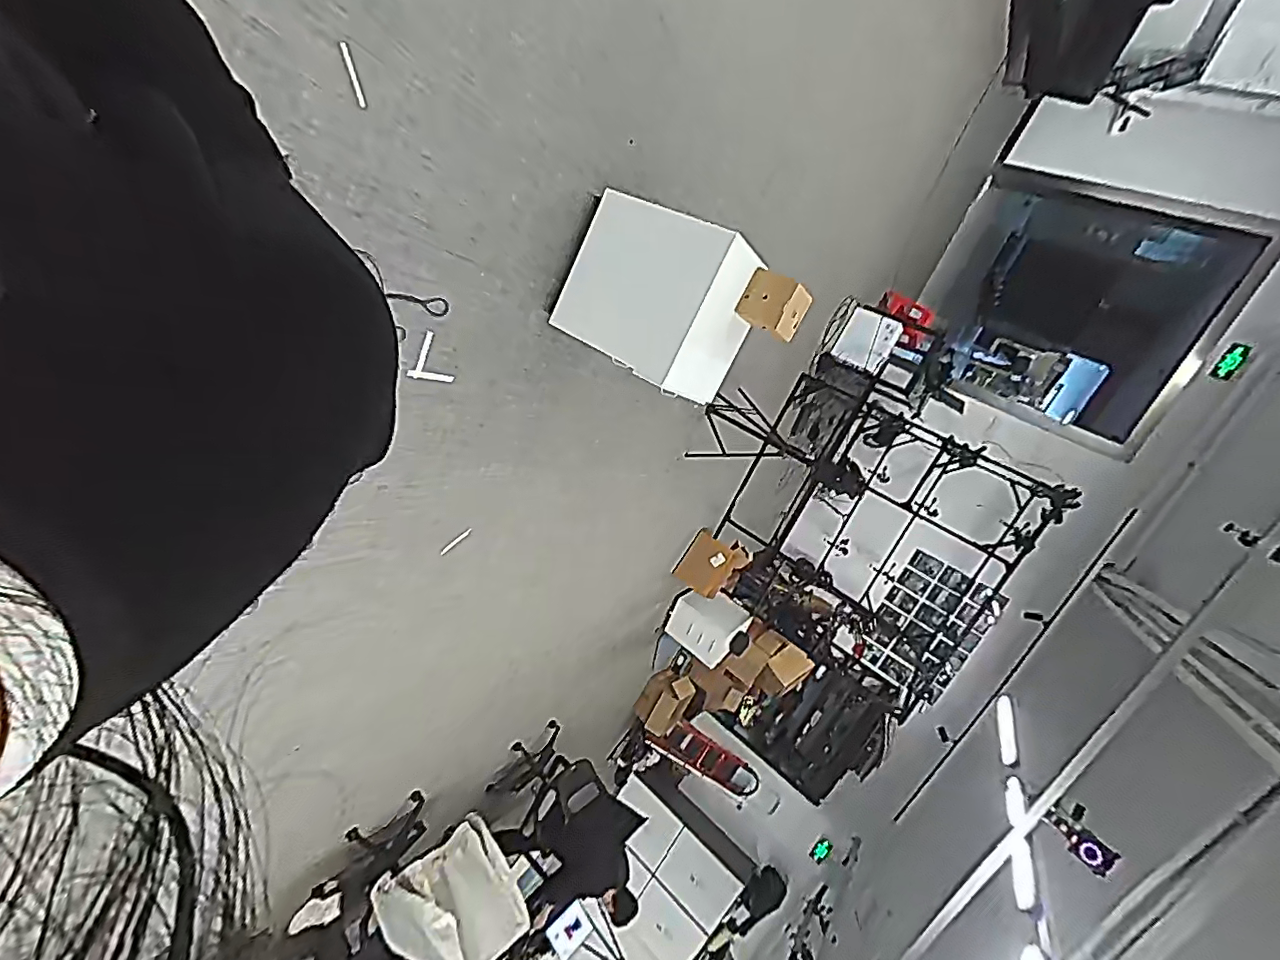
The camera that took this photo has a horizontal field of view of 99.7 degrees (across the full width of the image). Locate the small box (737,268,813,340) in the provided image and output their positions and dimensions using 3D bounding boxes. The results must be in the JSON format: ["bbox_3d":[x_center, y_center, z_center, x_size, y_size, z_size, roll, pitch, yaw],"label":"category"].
[{"bbox_3d":[0.463,-0.611,1.867,0.179,0.176,0.168,5,117,-58],"label":"small box"}]
